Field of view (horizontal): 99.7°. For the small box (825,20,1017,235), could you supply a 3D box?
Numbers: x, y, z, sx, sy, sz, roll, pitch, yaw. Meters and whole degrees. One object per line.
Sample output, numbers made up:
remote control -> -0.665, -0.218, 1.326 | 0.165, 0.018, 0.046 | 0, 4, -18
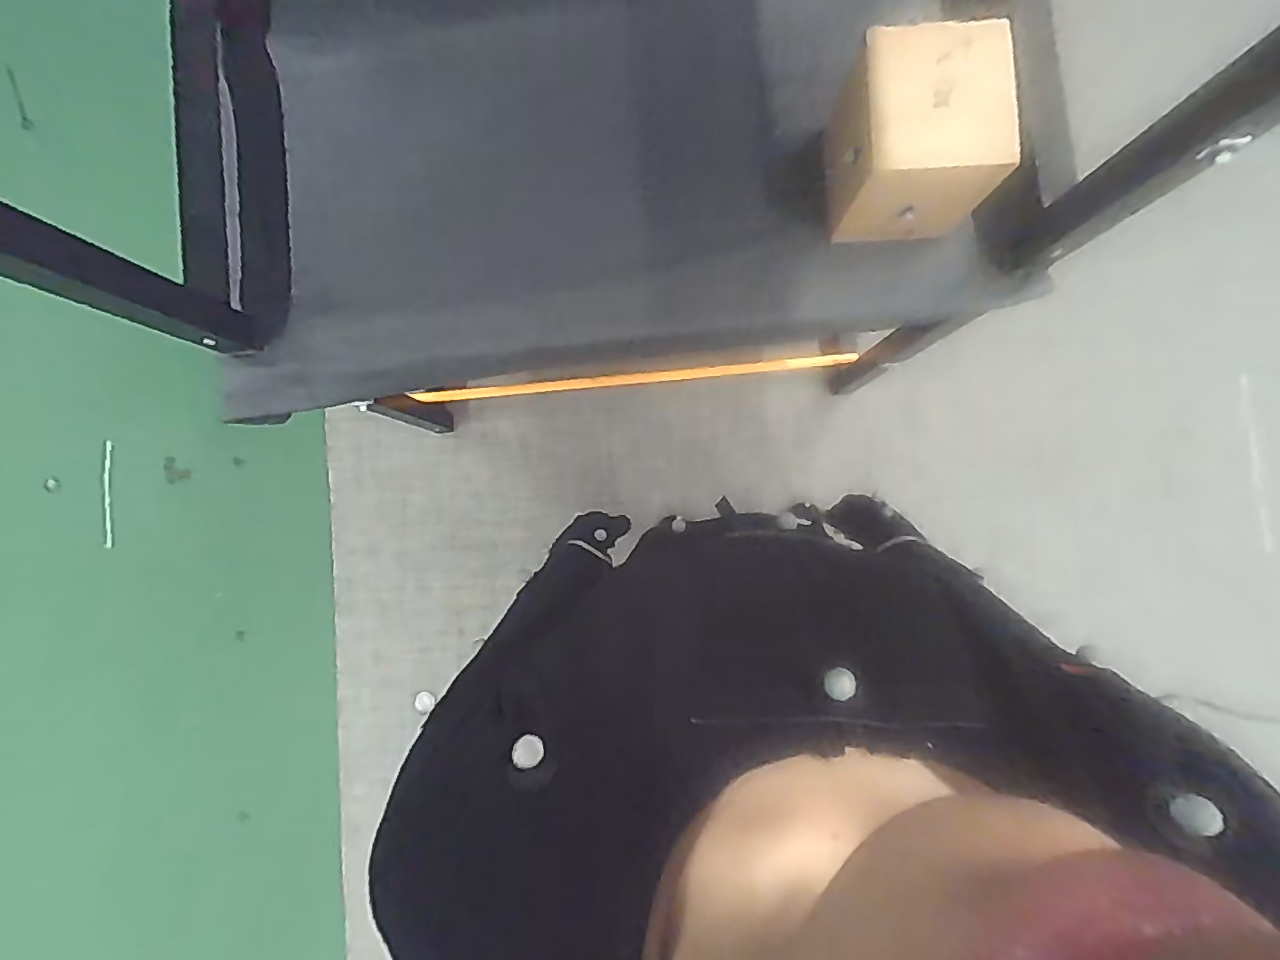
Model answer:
small box -> 0.346, -0.434, 0.698 | 0.168, 0.176, 0.179 | -1, 86, 2
